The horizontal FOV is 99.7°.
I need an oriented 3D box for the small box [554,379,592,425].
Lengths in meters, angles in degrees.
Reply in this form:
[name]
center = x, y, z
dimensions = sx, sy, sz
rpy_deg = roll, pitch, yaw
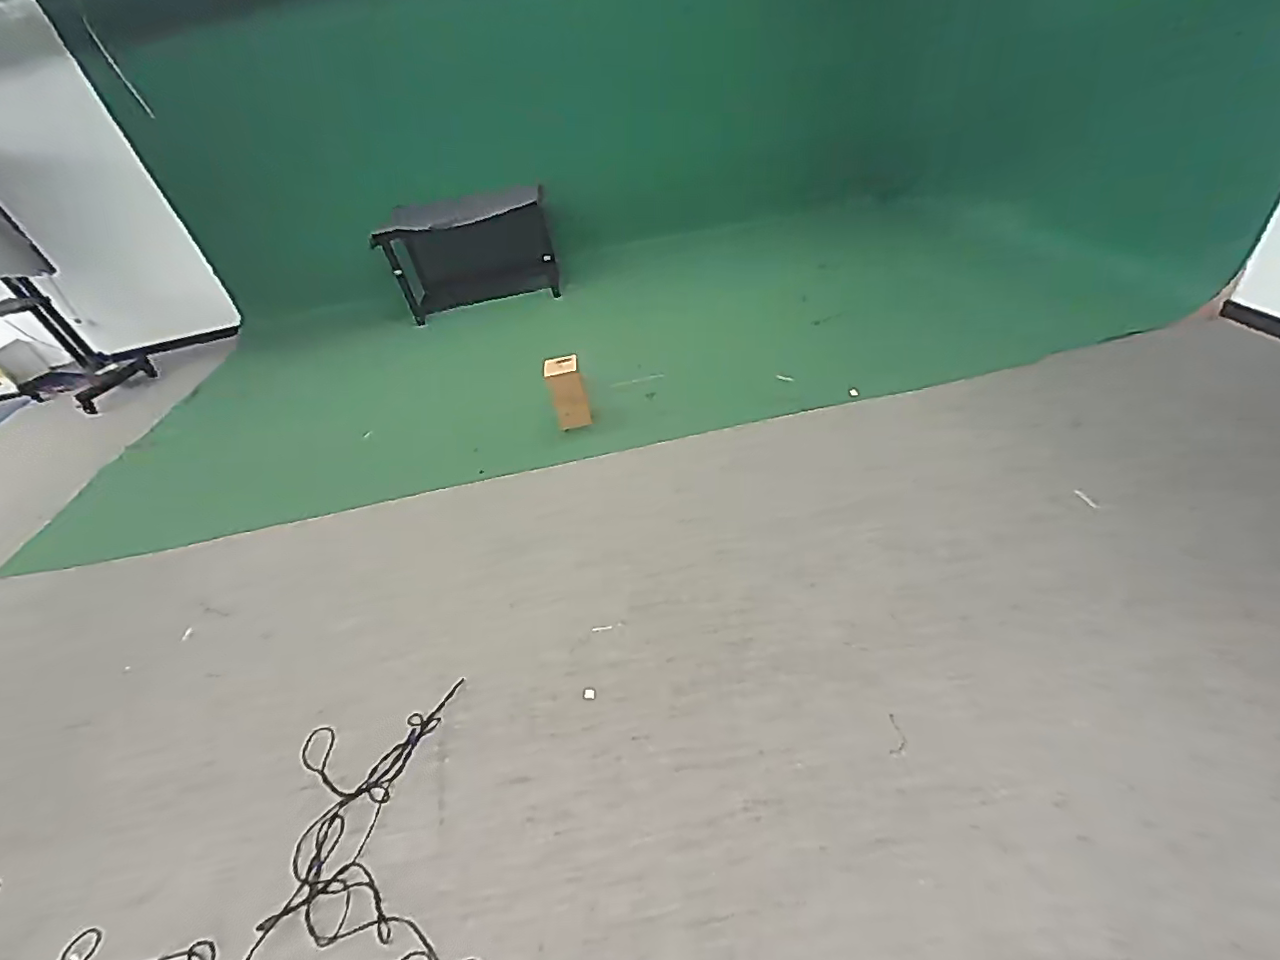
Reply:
[small box]
center = -0.350, -0.404, 2.858
dimensions = 0.168, 0.176, 0.179
rpy_deg = -12, 39, 2
